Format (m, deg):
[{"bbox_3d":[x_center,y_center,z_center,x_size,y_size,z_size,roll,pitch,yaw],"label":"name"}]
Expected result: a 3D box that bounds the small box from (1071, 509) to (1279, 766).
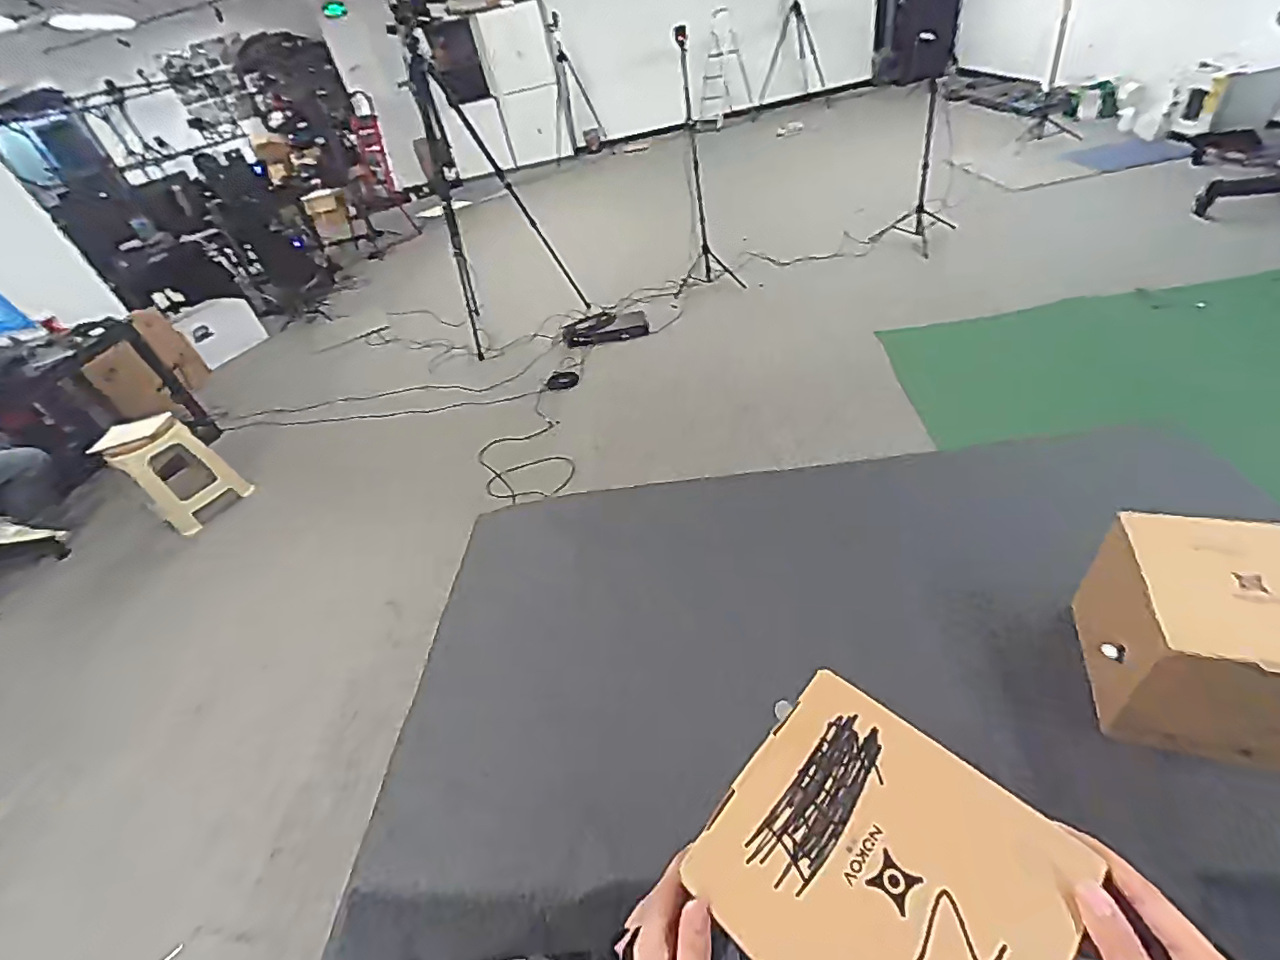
[{"bbox_3d":[0.571,0.155,0.544,0.168,0.176,0.179,6,42,22],"label":"small box"}]
